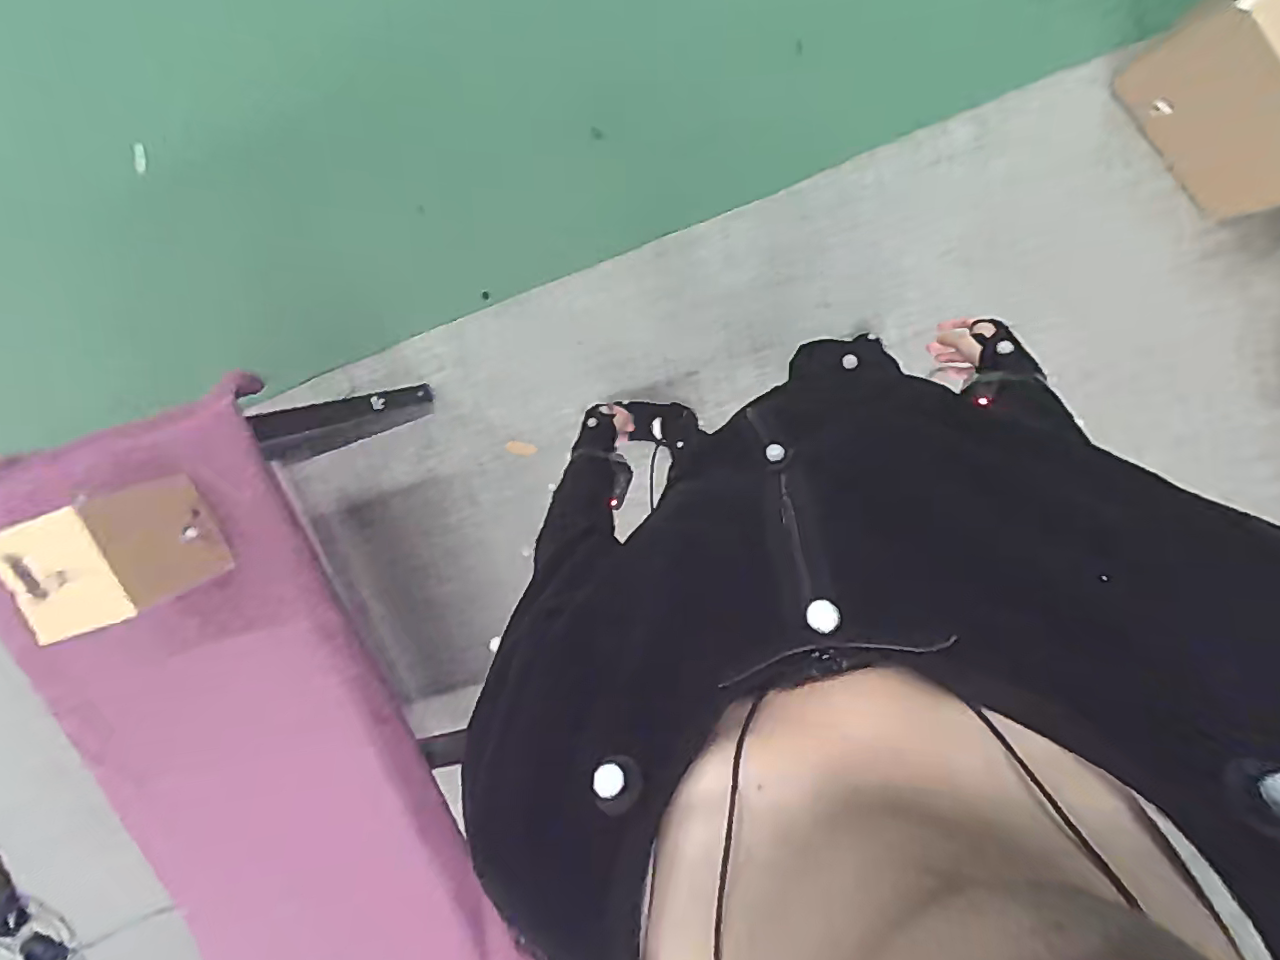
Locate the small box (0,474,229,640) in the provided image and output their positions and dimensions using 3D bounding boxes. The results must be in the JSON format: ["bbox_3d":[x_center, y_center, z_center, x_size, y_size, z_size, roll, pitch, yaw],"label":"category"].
[{"bbox_3d":[-0.774,0.106,0.799,0.179,0.176,0.168,-17,103,11],"label":"small box"}]
